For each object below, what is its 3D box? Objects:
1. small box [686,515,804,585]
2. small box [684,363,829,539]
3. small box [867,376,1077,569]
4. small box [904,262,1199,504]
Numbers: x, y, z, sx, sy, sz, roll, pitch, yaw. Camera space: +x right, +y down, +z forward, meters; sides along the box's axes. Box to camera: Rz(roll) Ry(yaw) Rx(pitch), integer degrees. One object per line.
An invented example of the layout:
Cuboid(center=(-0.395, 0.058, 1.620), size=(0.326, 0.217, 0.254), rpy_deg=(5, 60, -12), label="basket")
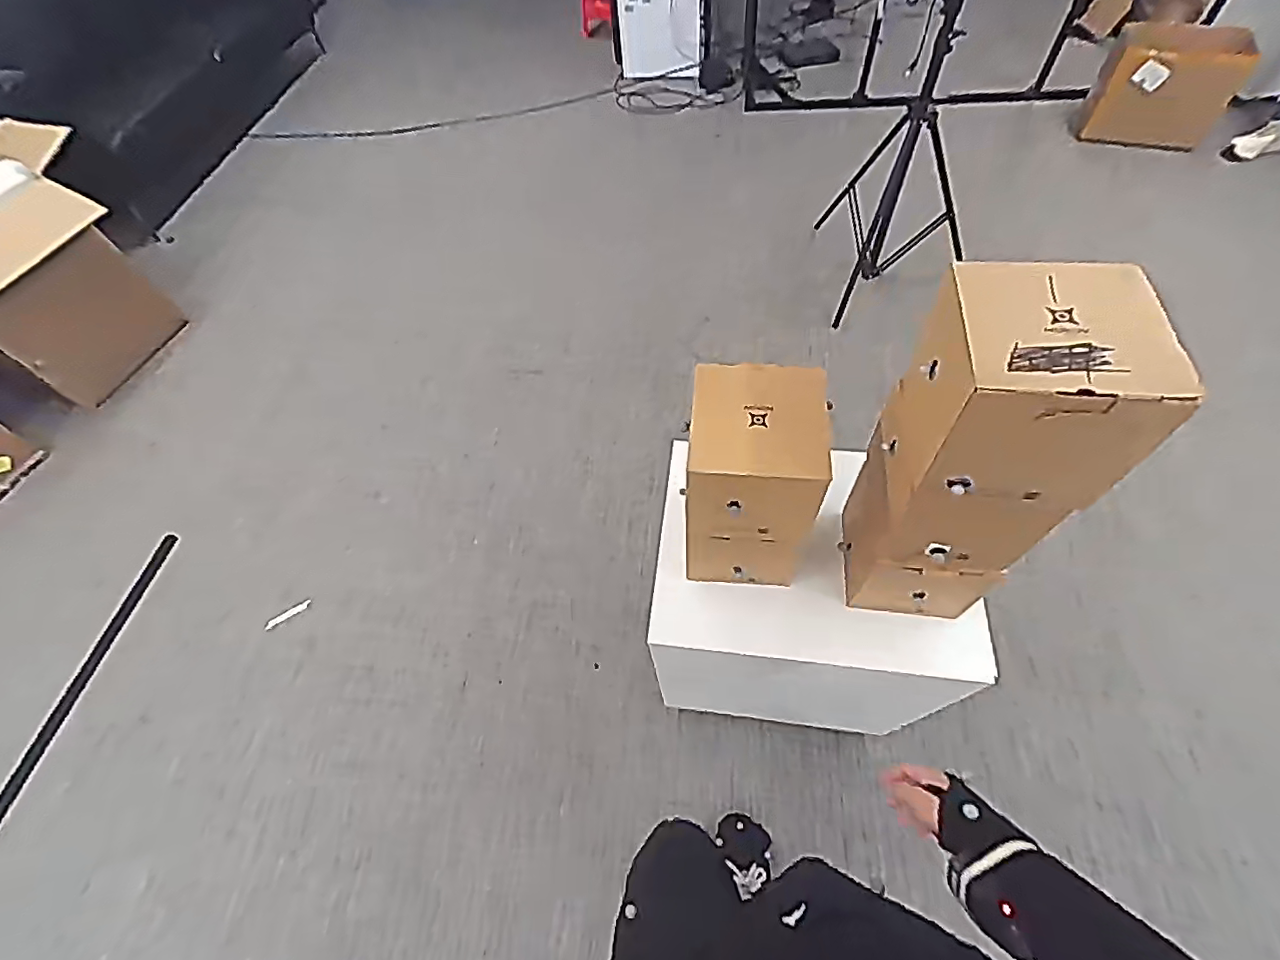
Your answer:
Cuboid(center=(0.160, 0.050, 0.863), size=(0.168, 0.176, 0.179), rpy_deg=(2, 58, 7), label="small box")
Cuboid(center=(0.149, -0.034, 0.724), size=(0.168, 0.176, 0.179), rpy_deg=(3, 57, 7), label="small box")
Cuboid(center=(0.394, -0.008, 0.682), size=(0.168, 0.176, 0.179), rpy_deg=(4, 59, 10), label="small box")
Cuboid(center=(0.379, -0.093, 0.543), size=(0.168, 0.176, 0.179), rpy_deg=(6, 57, 11), label="small box")
